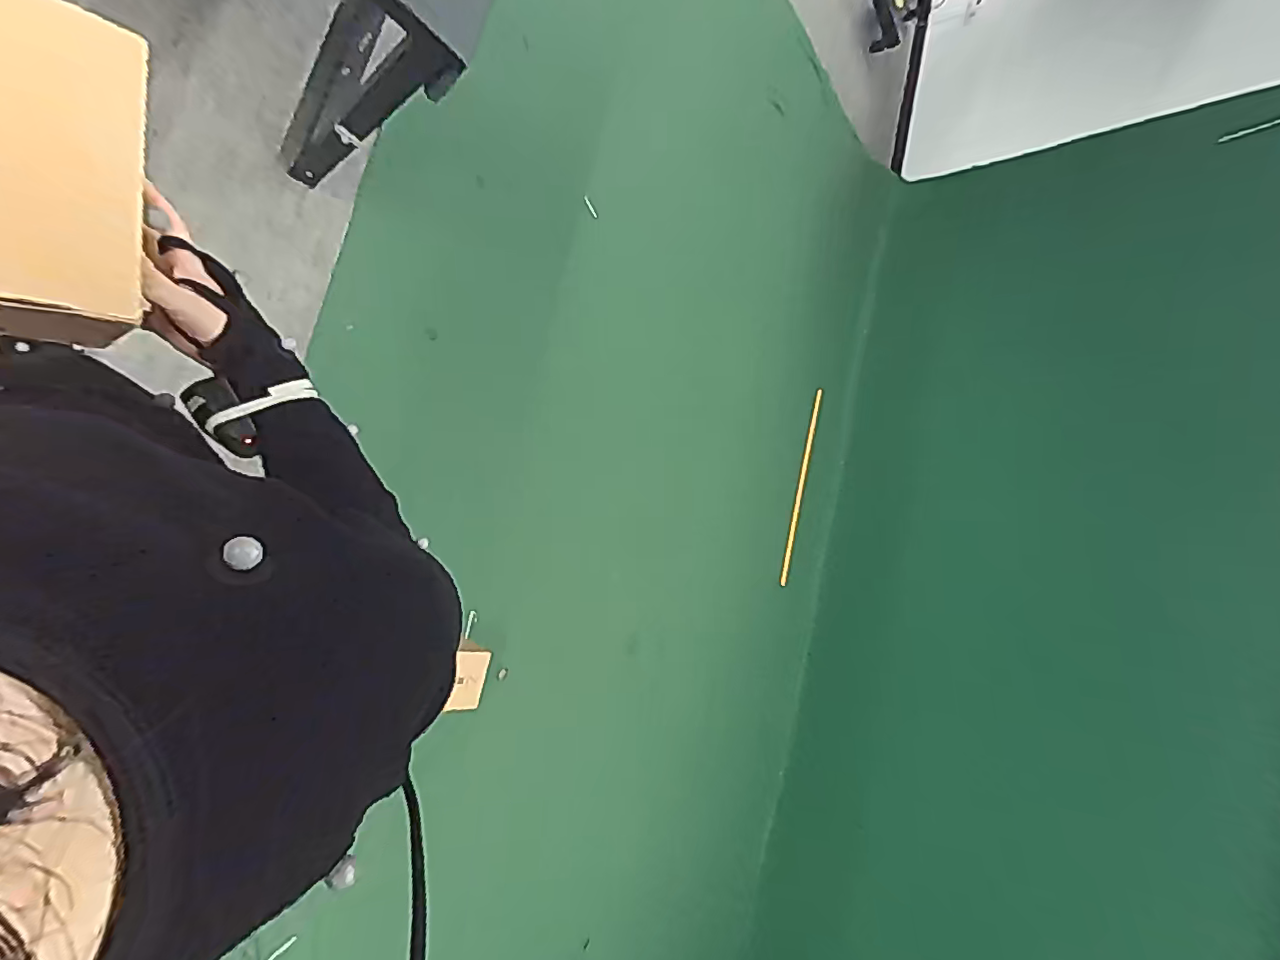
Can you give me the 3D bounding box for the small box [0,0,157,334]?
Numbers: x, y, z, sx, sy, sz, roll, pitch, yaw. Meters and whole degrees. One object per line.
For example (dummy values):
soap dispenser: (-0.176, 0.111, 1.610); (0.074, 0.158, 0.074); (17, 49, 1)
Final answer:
small box: (-0.417, -0.197, 0.317); (0.168, 0.176, 0.179); (2, 92, -53)
